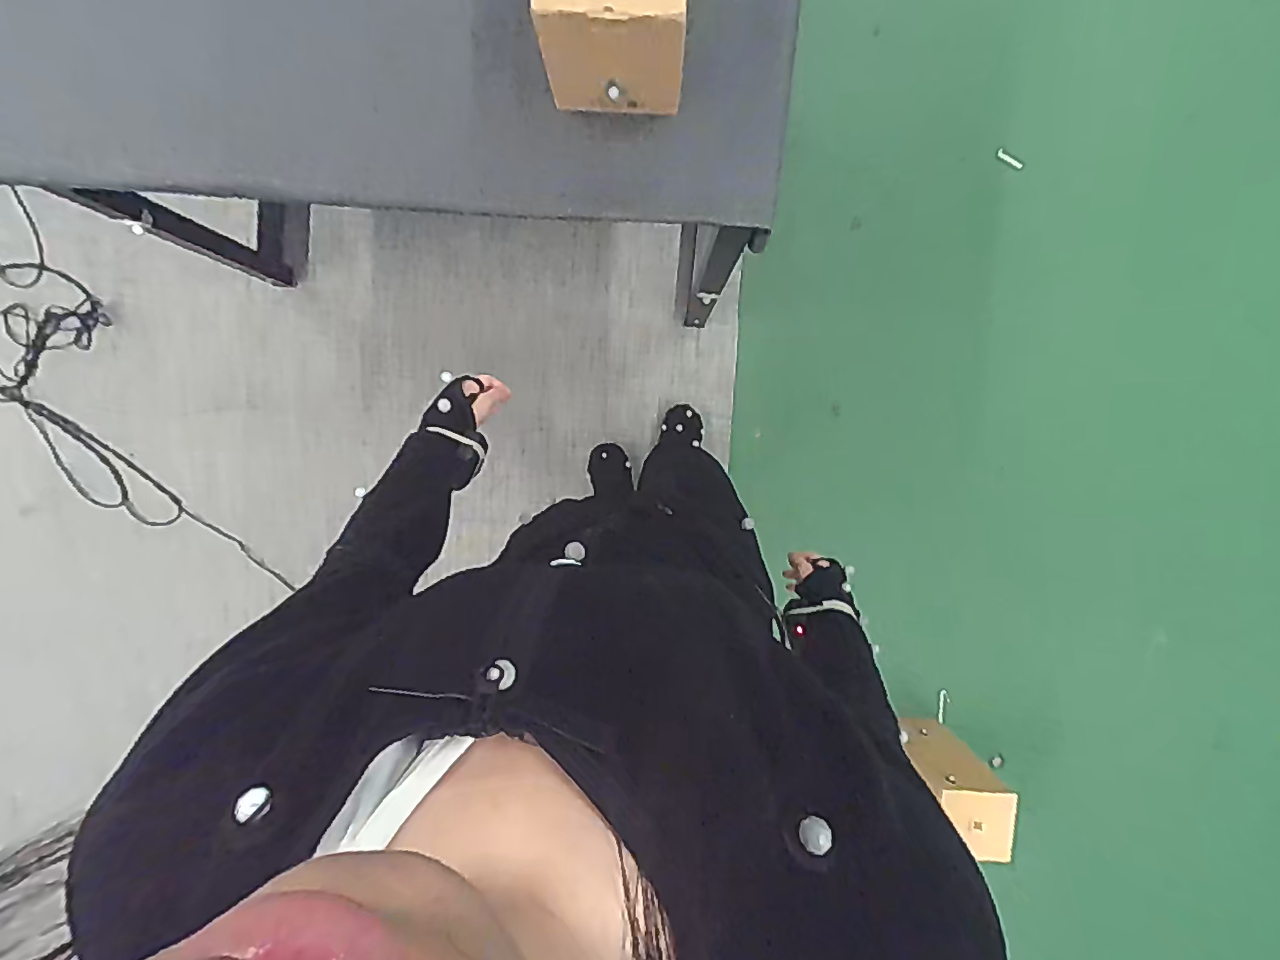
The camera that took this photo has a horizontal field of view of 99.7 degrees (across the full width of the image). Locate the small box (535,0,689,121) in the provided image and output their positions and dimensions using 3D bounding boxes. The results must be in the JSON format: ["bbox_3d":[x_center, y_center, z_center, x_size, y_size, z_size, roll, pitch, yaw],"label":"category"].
[{"bbox_3d":[-0.024,-0.576,0.651,0.168,0.176,0.179,3,93,2],"label":"small box"}]

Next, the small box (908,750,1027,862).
[{"bbox_3d":[0.774,0.771,1.293,0.179,0.176,0.168,3,94,1],"label":"small box"}]
